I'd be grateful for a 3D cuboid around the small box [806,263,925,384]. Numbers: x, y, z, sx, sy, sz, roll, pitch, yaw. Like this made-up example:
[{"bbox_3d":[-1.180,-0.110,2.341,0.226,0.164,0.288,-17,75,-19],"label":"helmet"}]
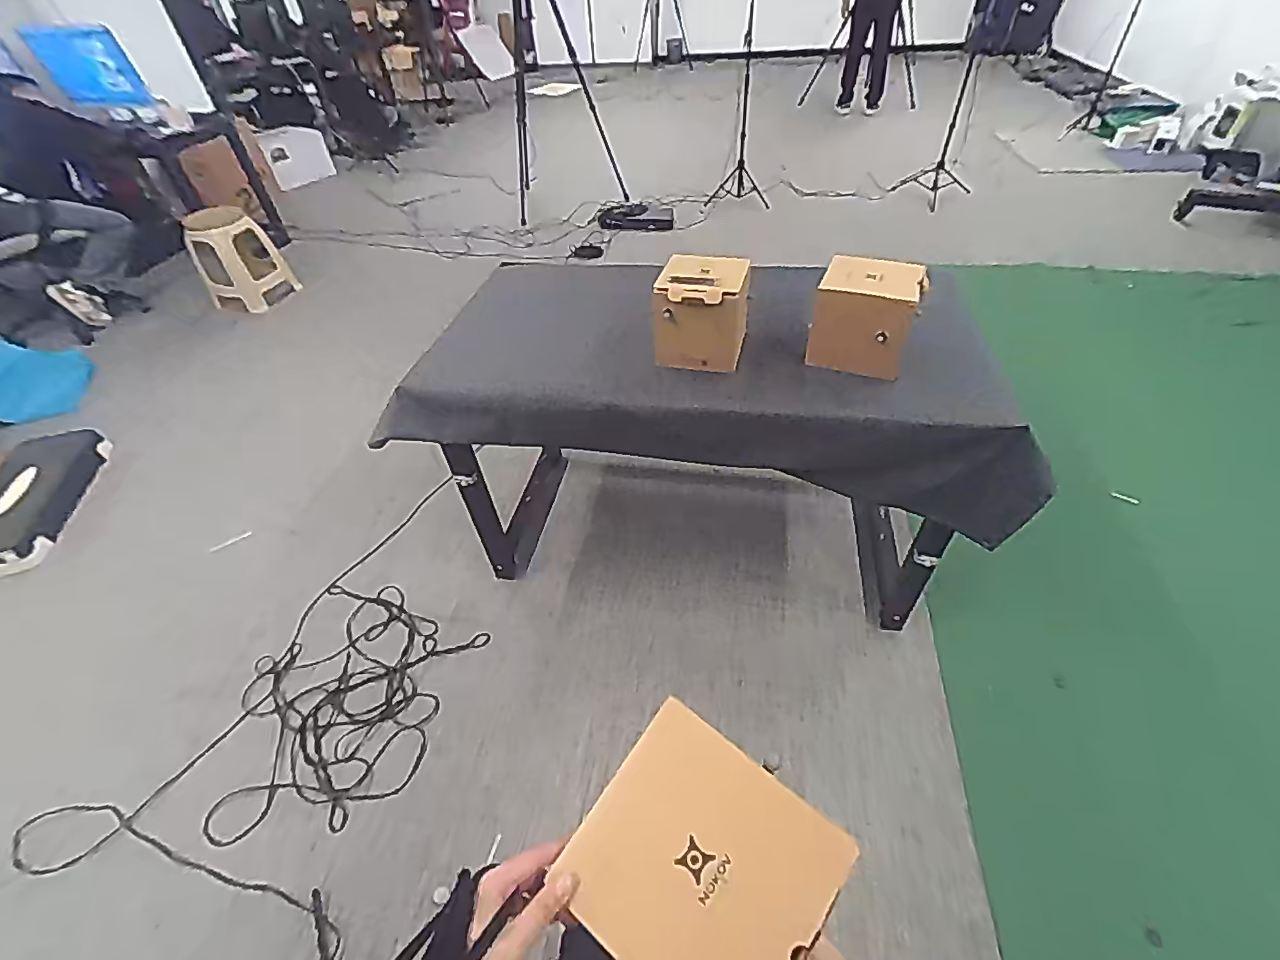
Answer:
[{"bbox_3d":[0.446,-0.311,1.079,0.179,0.176,0.168,15,46,20],"label":"small box"}]
